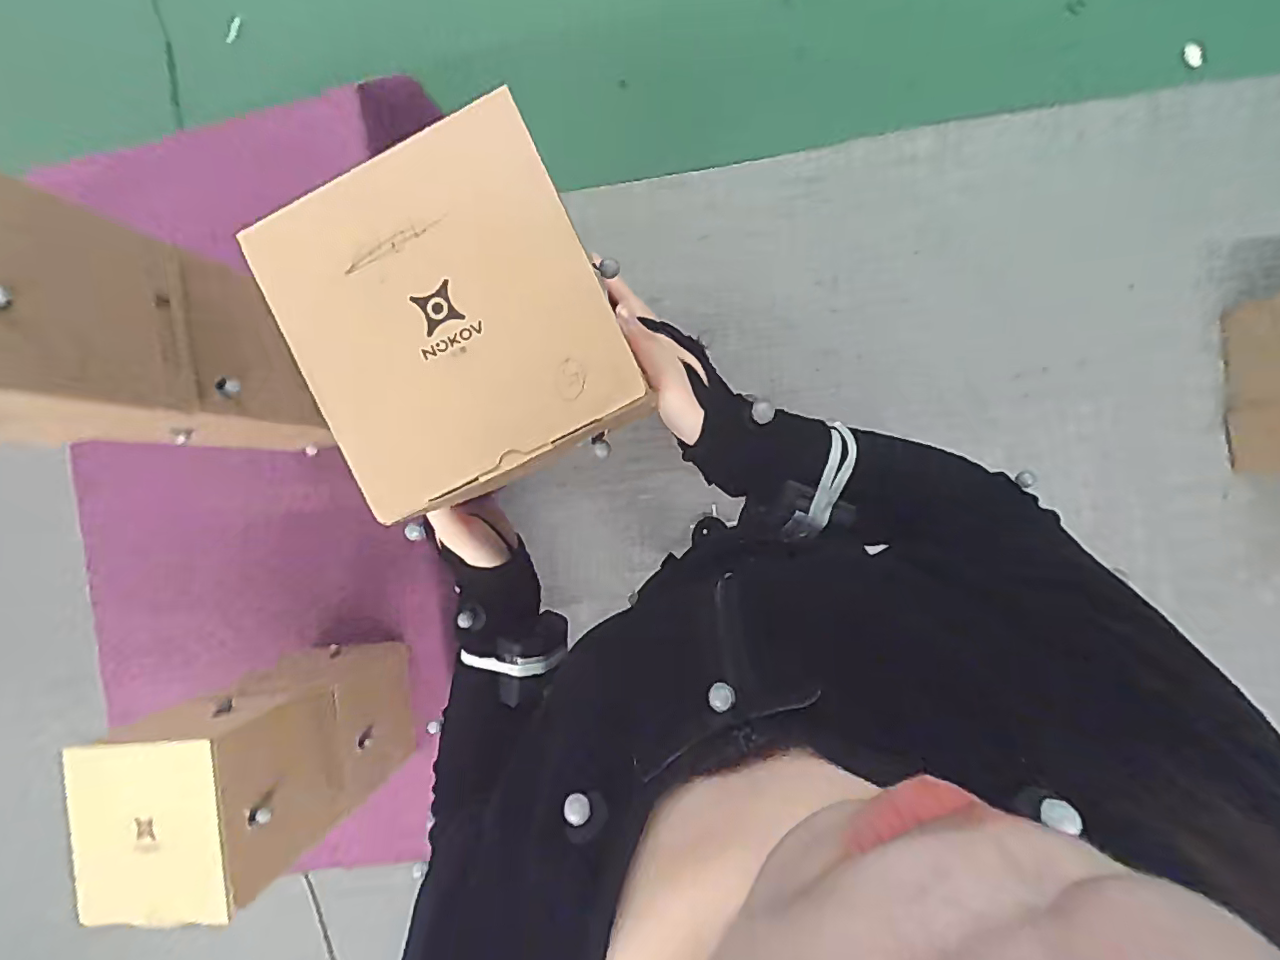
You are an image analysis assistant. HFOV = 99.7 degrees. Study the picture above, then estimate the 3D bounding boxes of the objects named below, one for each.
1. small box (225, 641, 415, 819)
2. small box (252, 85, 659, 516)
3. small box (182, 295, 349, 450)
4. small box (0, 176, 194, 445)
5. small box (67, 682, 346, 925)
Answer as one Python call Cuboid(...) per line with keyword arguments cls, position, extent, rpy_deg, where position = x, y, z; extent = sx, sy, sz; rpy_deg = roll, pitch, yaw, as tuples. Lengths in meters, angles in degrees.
Cuboid(cls="small box", position=(-0.436, 0.342, 0.759), extent=(0.168, 0.176, 0.179), rpy_deg=(-7, 89, 7))
Cuboid(cls="small box", position=(-0.092, -0.096, 0.362), extent=(0.168, 0.176, 0.179), rpy_deg=(-24, 93, 5))
Cuboid(cls="small box", position=(-0.493, -0.141, 0.766), extent=(0.168, 0.176, 0.179), rpy_deg=(-7, 90, 7))
Cuboid(cls="small box", position=(-0.521, -0.125, 0.438), extent=(0.179, 0.176, 0.168), rpy_deg=(-10, 90, 9))
Cuboid(cls="small box", position=(-0.458, 0.337, 0.597), extent=(0.168, 0.176, 0.179), rpy_deg=(-7, 90, 7))
